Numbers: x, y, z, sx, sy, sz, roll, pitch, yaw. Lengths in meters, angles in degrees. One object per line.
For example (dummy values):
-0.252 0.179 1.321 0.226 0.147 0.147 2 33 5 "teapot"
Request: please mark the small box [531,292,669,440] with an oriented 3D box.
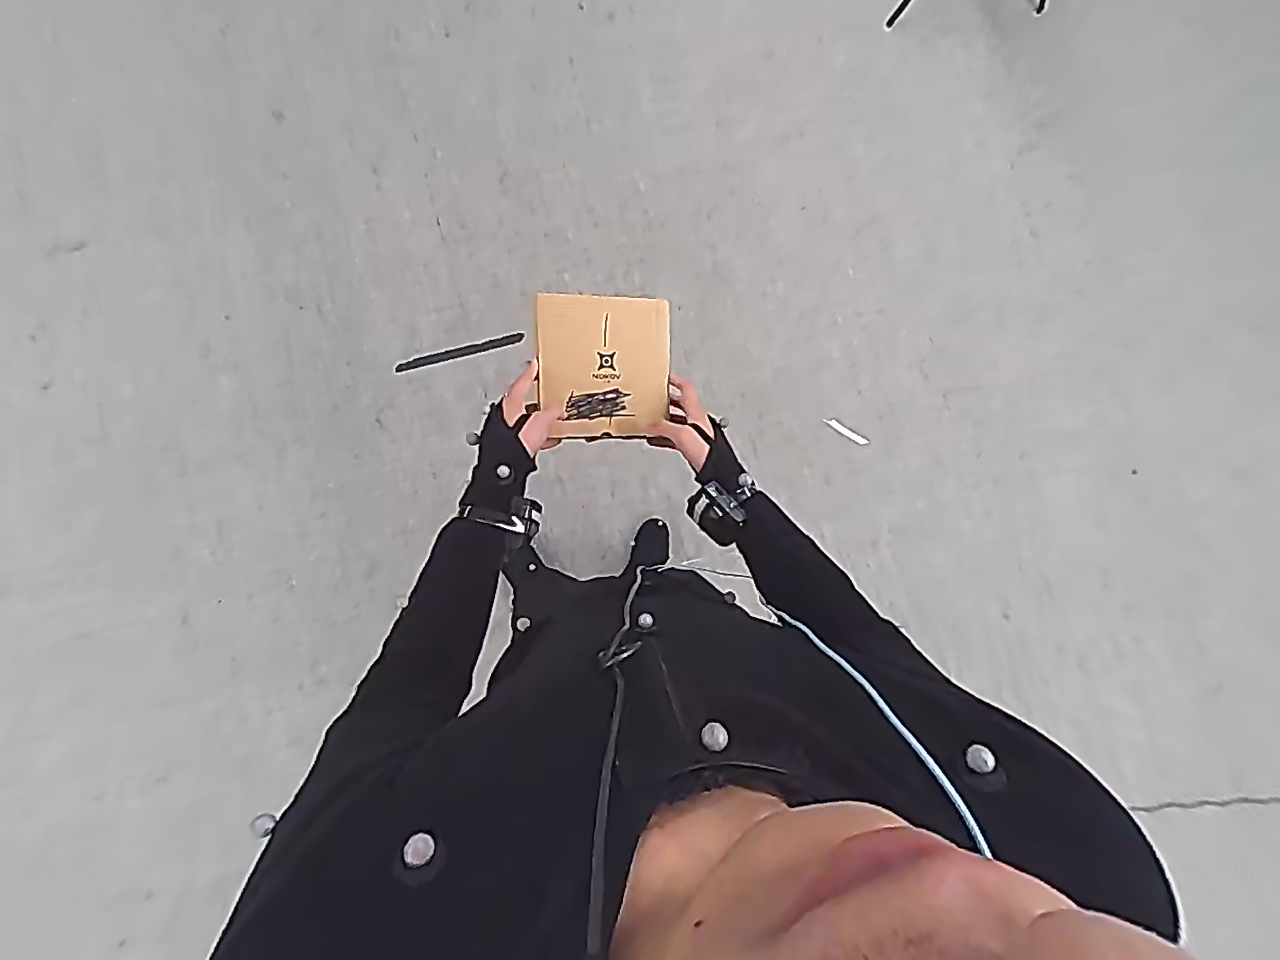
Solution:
-0.062 -0.148 0.742 0.168 0.176 0.179 -1 97 -13 "small box"
